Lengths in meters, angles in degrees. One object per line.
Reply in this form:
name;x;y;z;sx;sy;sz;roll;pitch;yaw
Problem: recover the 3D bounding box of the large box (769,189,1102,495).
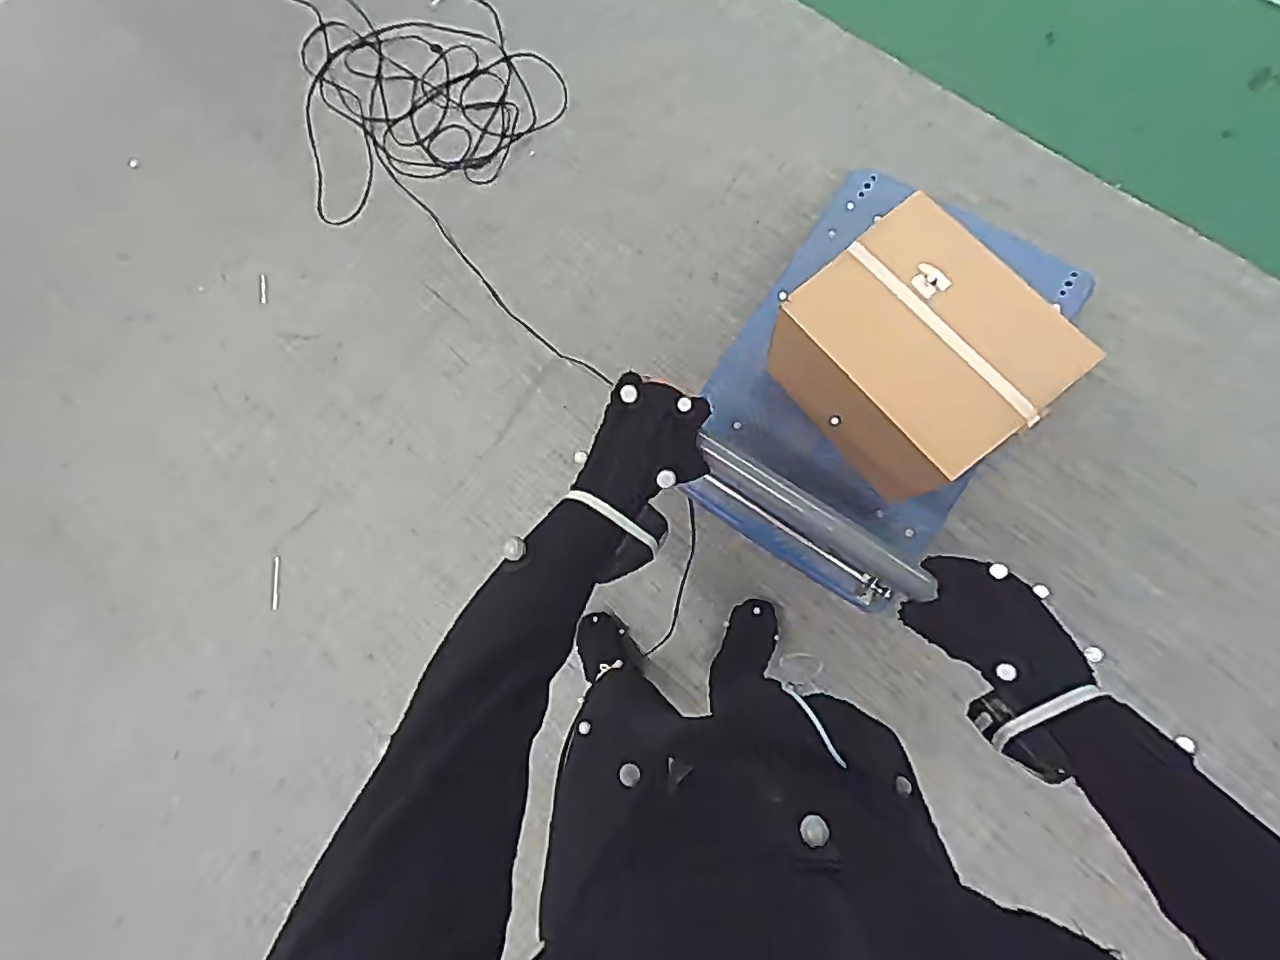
large box;0.498;-0.229;1.020;0.320;0.320;0.408;-40;77;1
